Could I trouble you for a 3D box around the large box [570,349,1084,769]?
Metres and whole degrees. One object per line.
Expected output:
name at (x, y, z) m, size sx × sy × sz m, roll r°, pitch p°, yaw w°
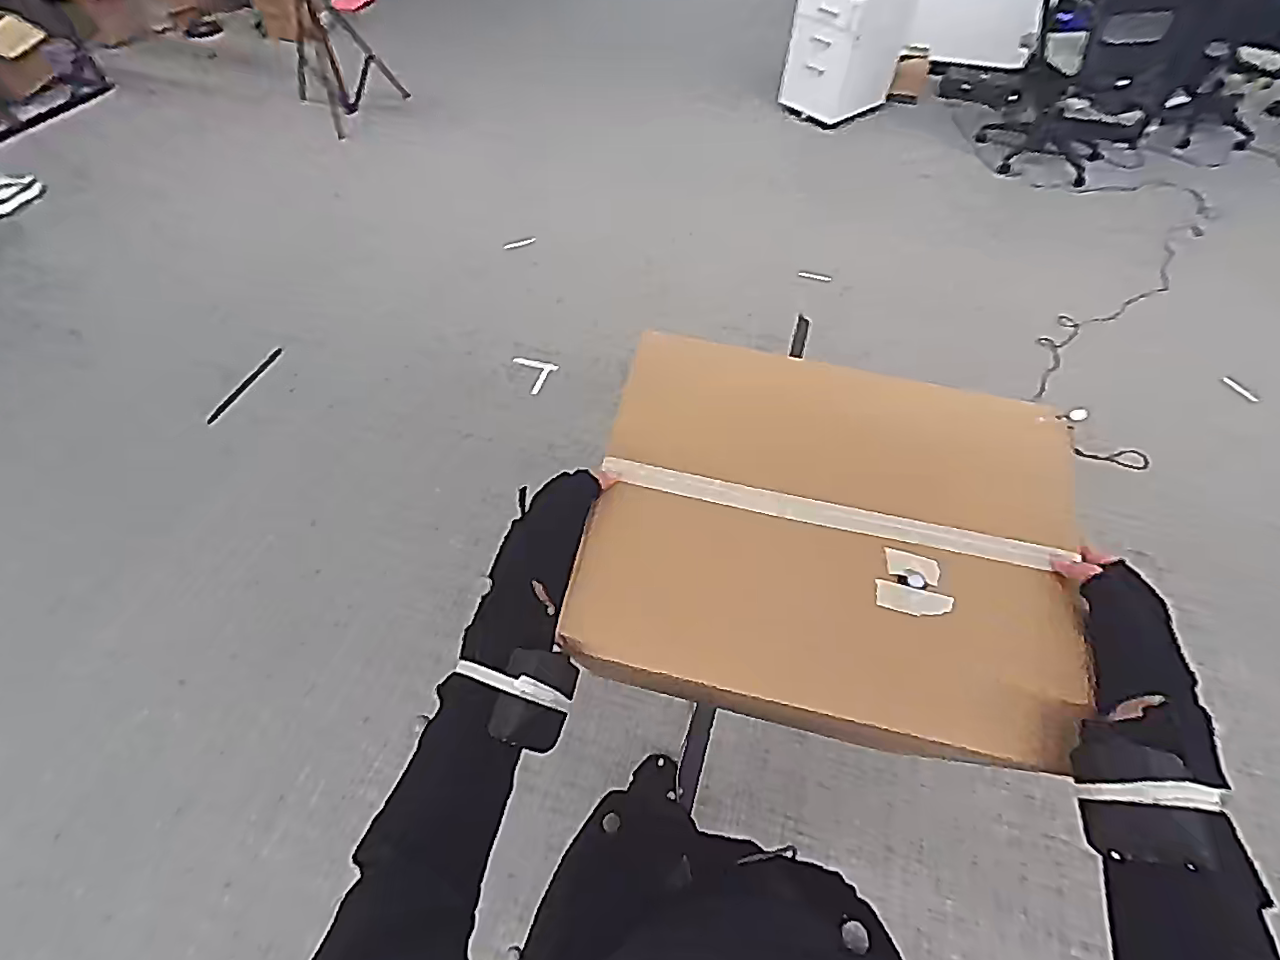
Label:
large box at (0.164, 0.099, 0.607) m, size 0.408 × 0.320 × 0.320 m, roll 12°, pitch 68°, yaw 5°
